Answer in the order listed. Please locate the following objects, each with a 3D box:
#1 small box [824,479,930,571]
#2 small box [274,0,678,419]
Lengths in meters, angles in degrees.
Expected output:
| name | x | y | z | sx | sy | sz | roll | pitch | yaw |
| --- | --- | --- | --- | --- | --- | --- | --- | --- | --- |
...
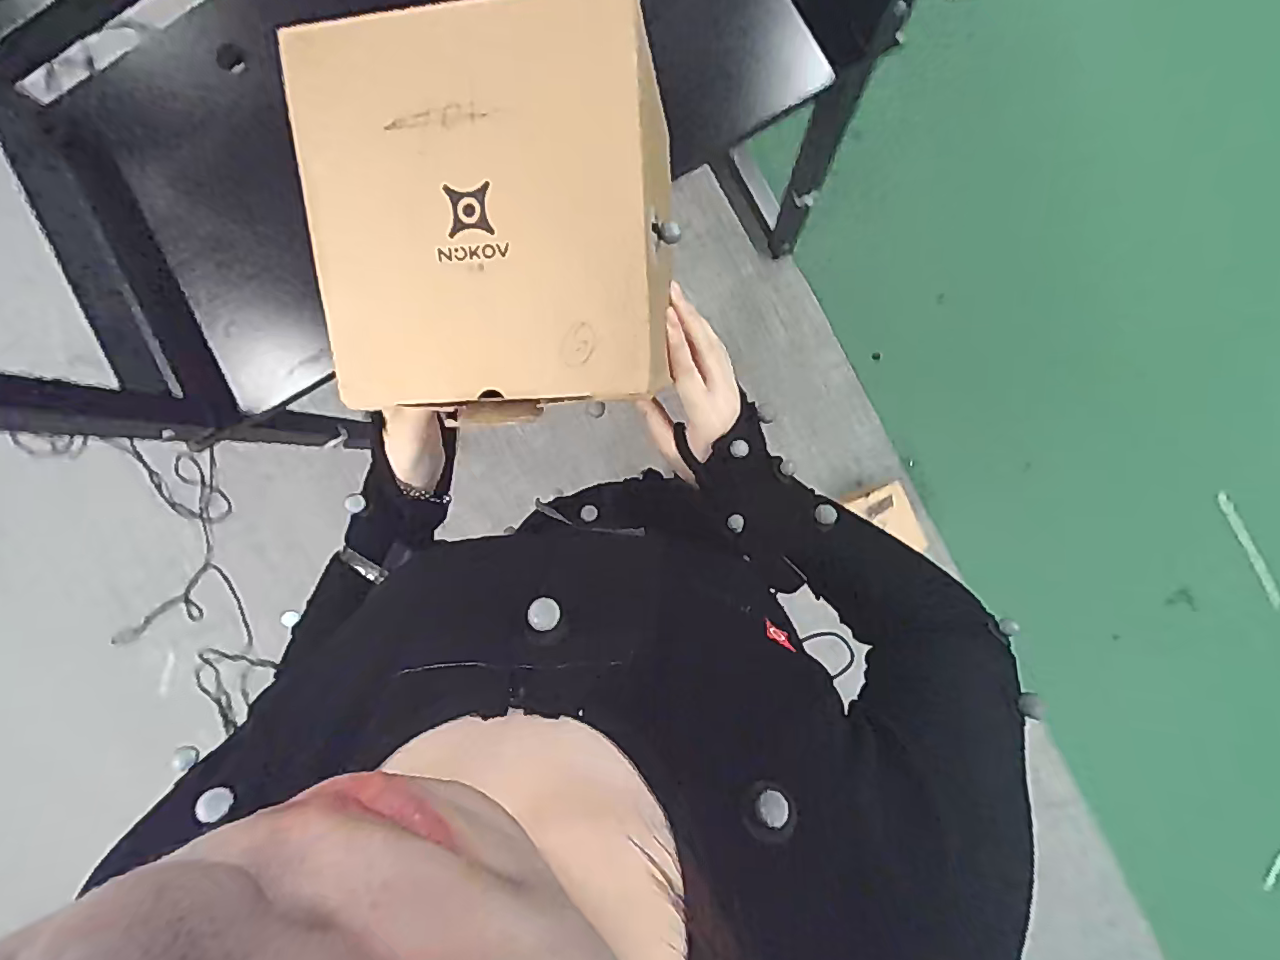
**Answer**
| name | x | y | z | sx | sy | sz | roll | pitch | yaw |
| --- | --- | --- | --- | --- | --- | --- | --- | --- | --- |
| small box | 0.587 | 0.107 | 1.365 | 0.168 | 0.176 | 0.179 | -24 | 90 | 6 |
| small box | -0.066 | -0.136 | 0.322 | 0.168 | 0.176 | 0.179 | -1 | 103 | 7 |
